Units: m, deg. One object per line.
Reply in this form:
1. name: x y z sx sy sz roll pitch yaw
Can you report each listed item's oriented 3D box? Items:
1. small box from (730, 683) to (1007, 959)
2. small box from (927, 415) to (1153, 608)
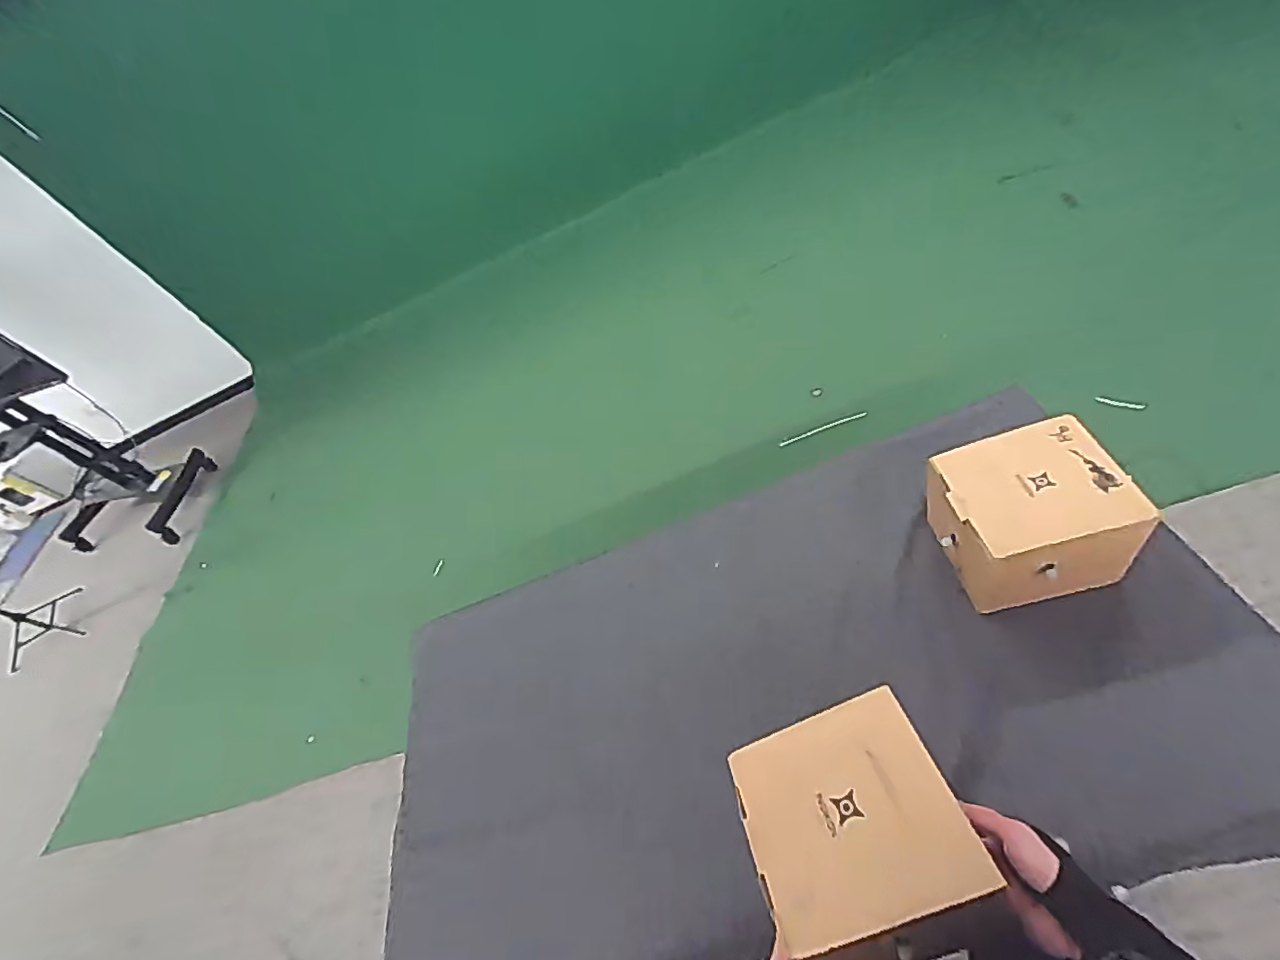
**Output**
1. small box: 0.214 0.334 0.516 0.179 0.176 0.168 -28 37 9
2. small box: 0.505 0.050 0.715 0.179 0.176 0.168 -19 50 14
